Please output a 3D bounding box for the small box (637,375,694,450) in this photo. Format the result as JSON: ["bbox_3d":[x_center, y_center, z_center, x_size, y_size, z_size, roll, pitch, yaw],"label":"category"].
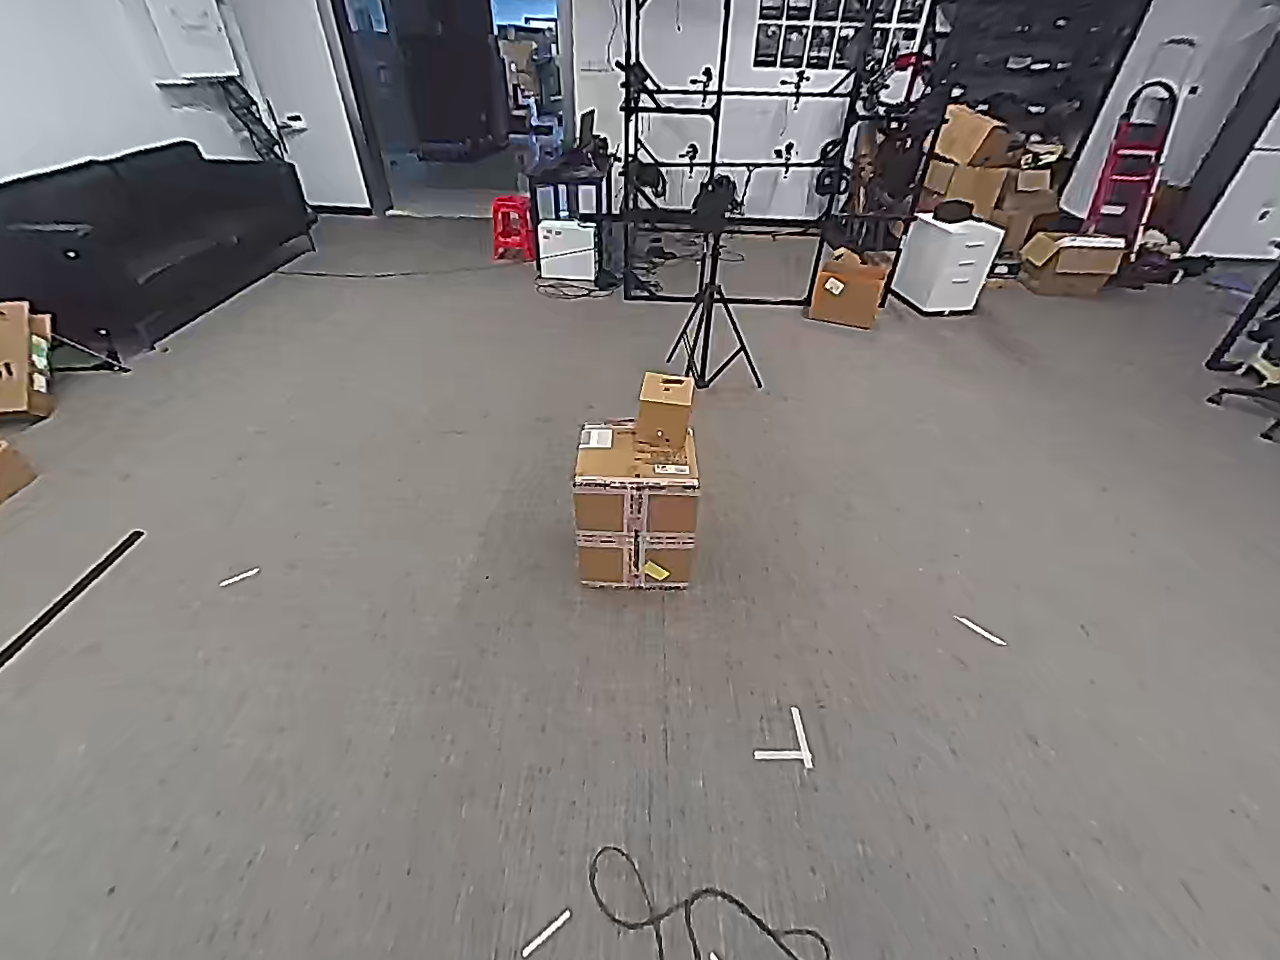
[{"bbox_3d":[0.085,-0.226,1.808,0.168,0.176,0.179,8,41,4],"label":"small box"}]
